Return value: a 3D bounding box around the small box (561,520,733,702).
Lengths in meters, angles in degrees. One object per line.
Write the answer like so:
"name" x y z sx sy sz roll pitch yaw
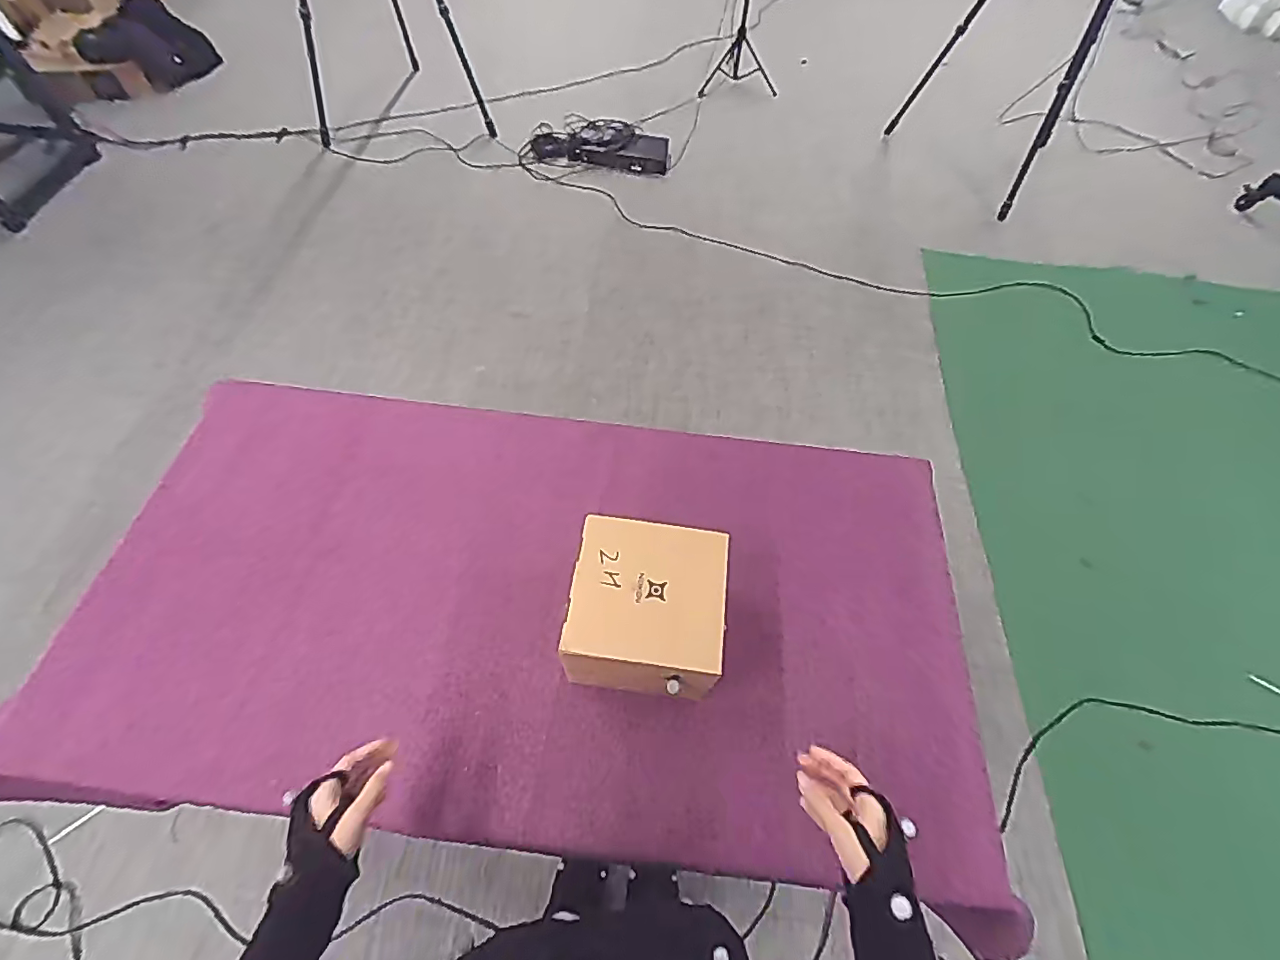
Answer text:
"small box" 0.010 0.170 0.675 0.179 0.176 0.168 8 58 2
